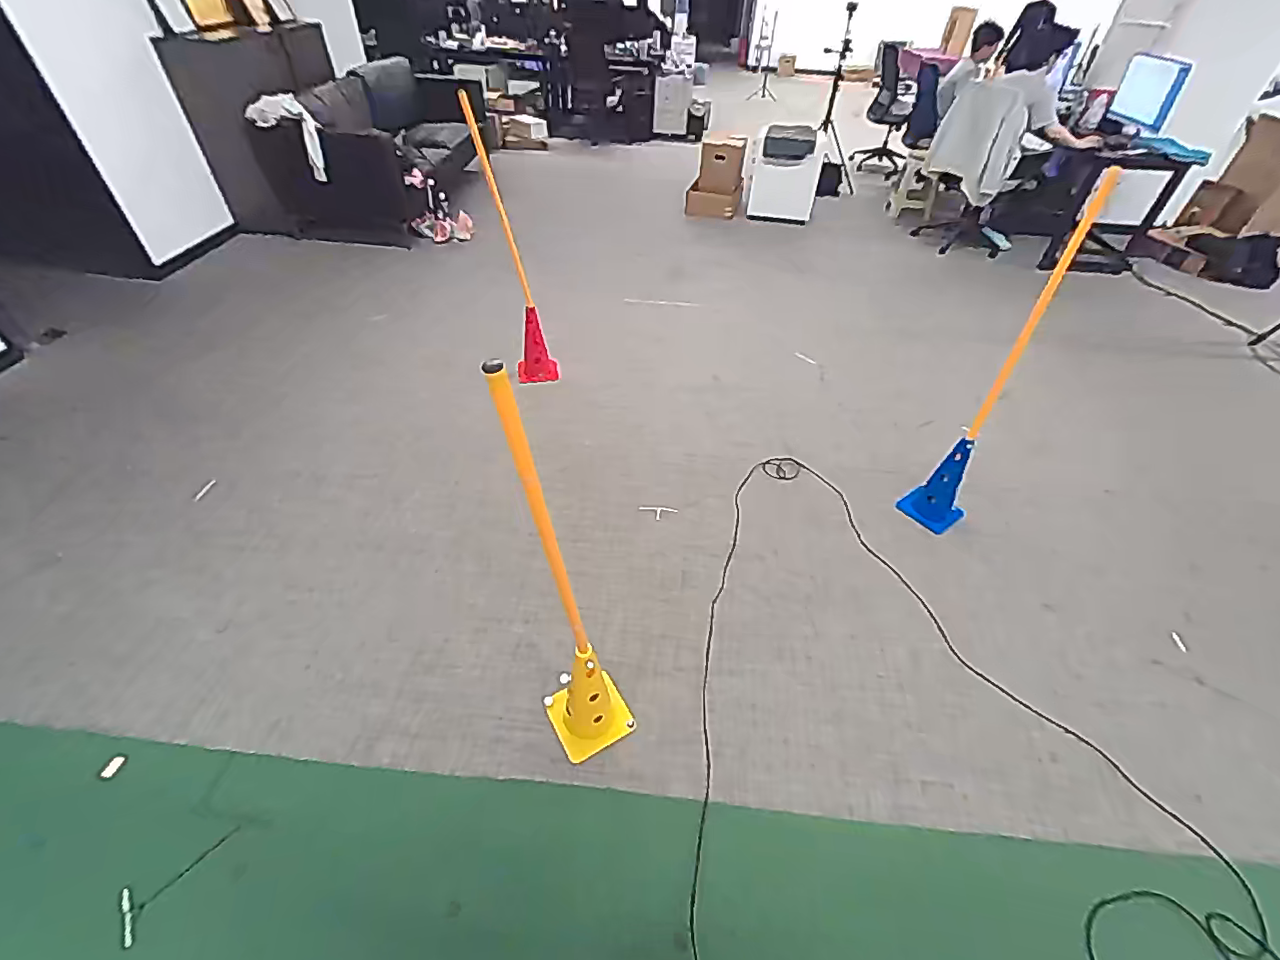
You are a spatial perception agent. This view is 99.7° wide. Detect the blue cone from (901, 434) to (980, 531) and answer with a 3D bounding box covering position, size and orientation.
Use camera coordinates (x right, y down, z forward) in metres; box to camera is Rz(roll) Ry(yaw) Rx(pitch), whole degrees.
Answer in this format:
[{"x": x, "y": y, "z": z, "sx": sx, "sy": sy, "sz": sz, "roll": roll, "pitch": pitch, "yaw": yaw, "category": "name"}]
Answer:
[{"x": 1.146, "y": -0.014, "z": 2.009, "sx": 0.193, "sy": 0.380, "sz": 0.192, "roll": -27, "pitch": 50, "yaw": -30, "category": "blue cone"}]
